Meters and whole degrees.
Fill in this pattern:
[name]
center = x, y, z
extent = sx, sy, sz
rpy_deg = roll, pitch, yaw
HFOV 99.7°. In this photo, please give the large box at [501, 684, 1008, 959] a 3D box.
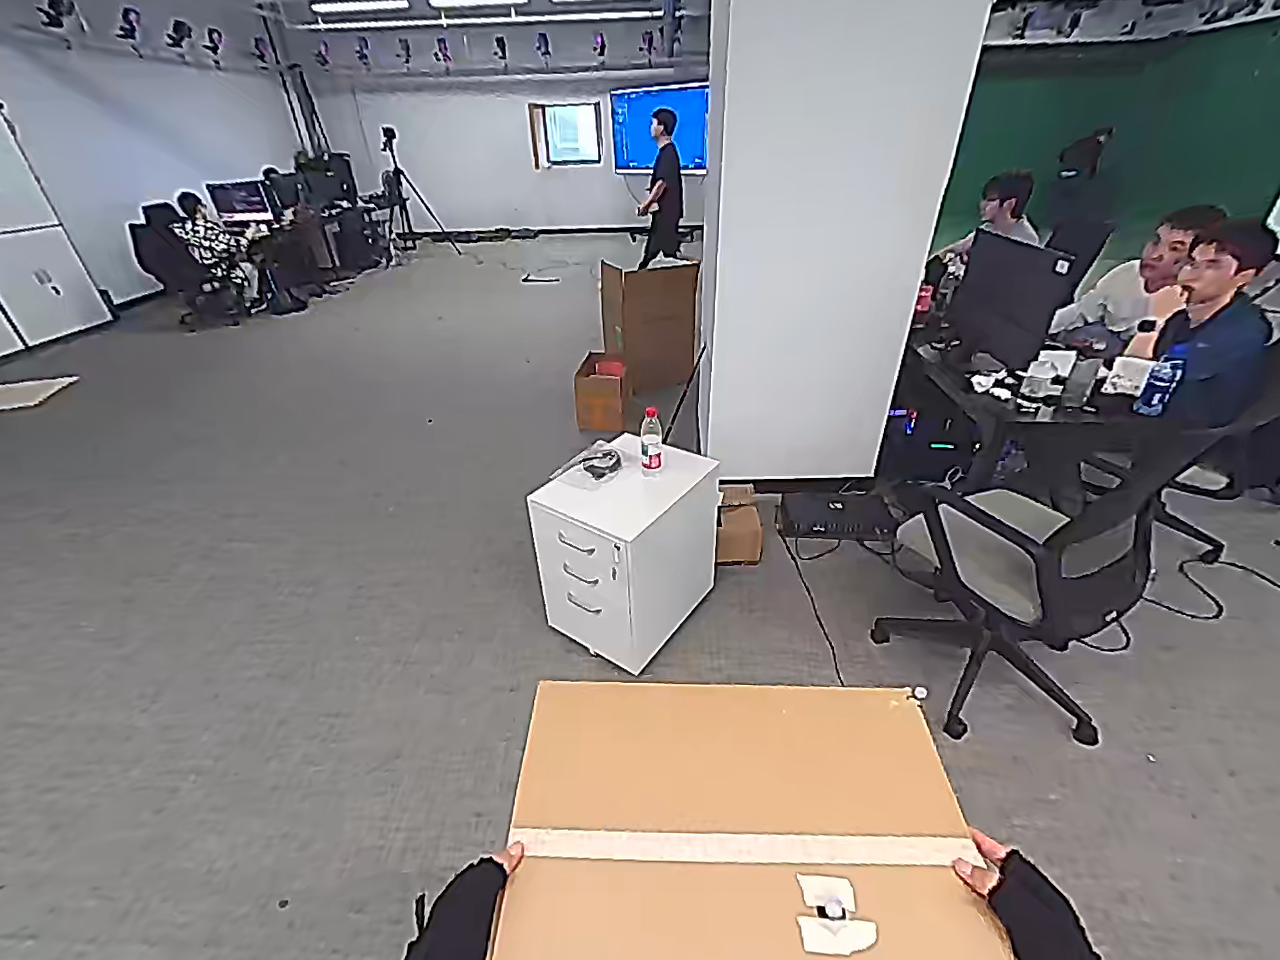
[large box]
center = 0.090, 0.442, 0.571
extent = 0.408, 0.320, 0.320
rpy_deg = 1, 39, 2
